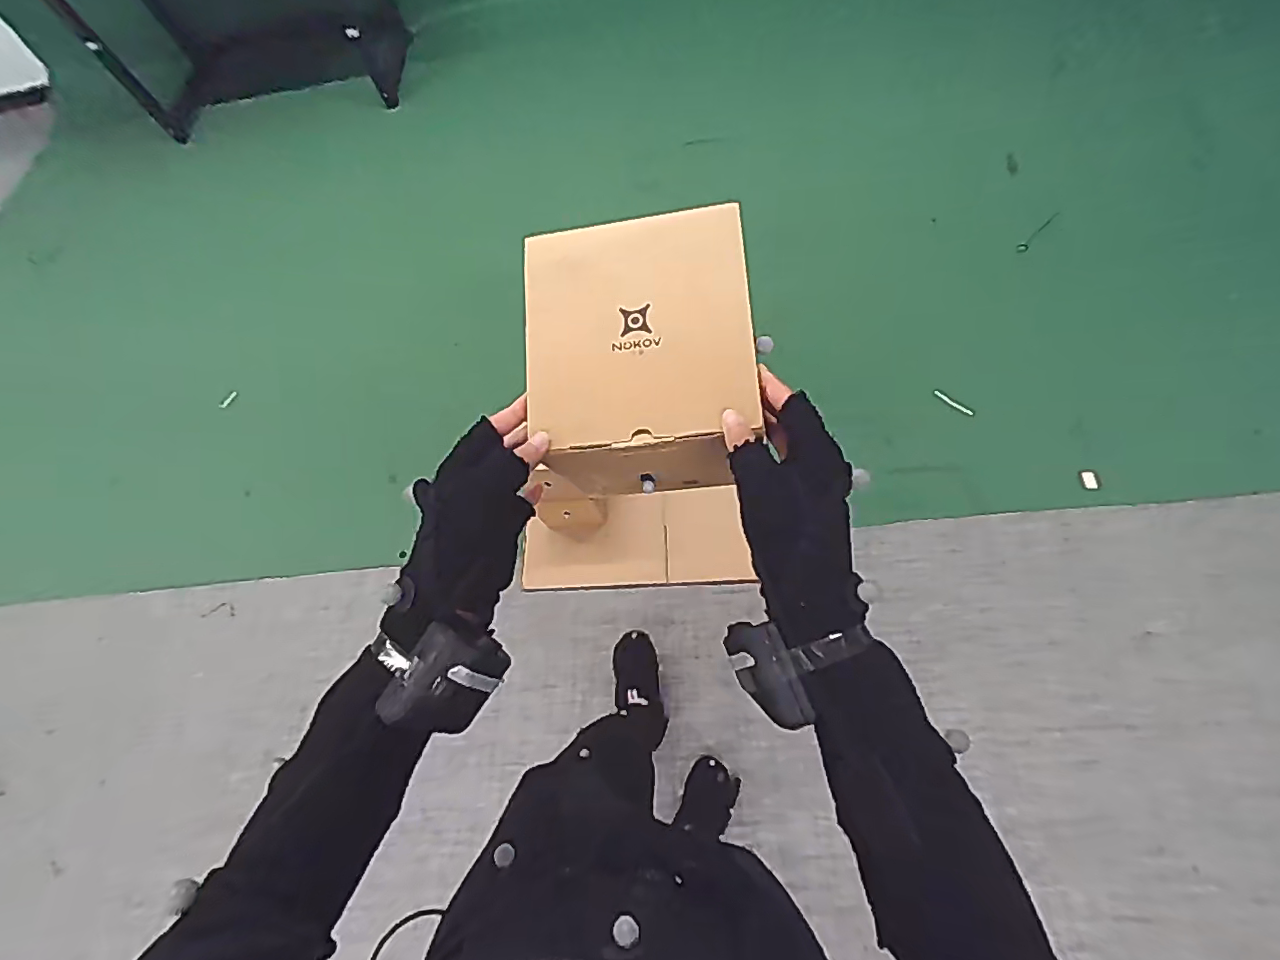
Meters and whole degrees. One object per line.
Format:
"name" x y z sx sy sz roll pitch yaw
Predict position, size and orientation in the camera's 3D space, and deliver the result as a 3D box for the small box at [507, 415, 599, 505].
"small box" -0.205 -0.044 1.337 0.179 0.176 0.168 -3 64 11
